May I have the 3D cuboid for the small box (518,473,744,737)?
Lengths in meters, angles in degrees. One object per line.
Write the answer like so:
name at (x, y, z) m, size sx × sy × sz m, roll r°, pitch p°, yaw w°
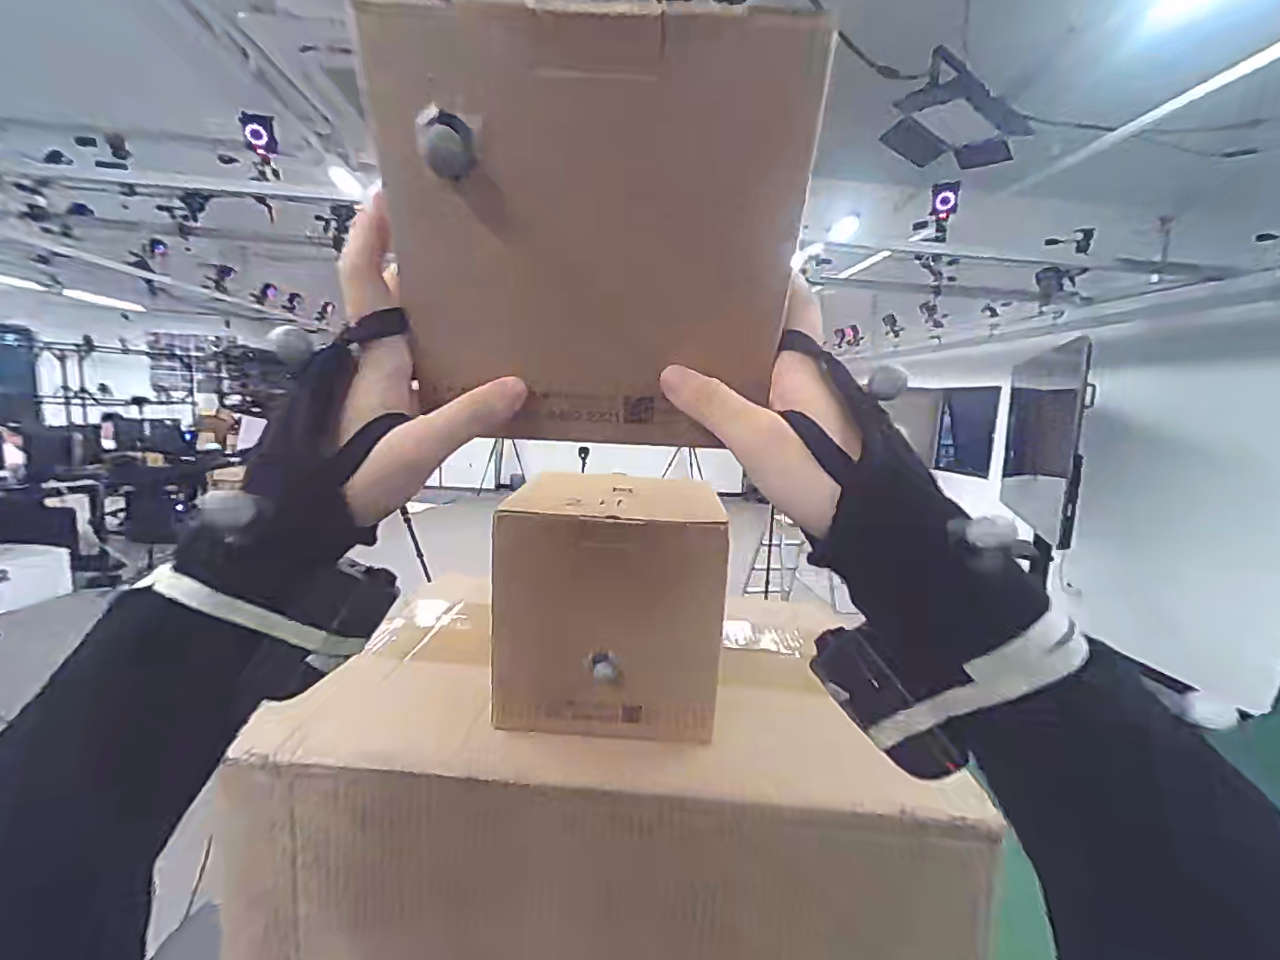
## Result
small box at (-0.010, 0.094, 0.478) m, size 0.168 × 0.176 × 0.179 m, roll 3°, pitch 10°, yaw 1°
